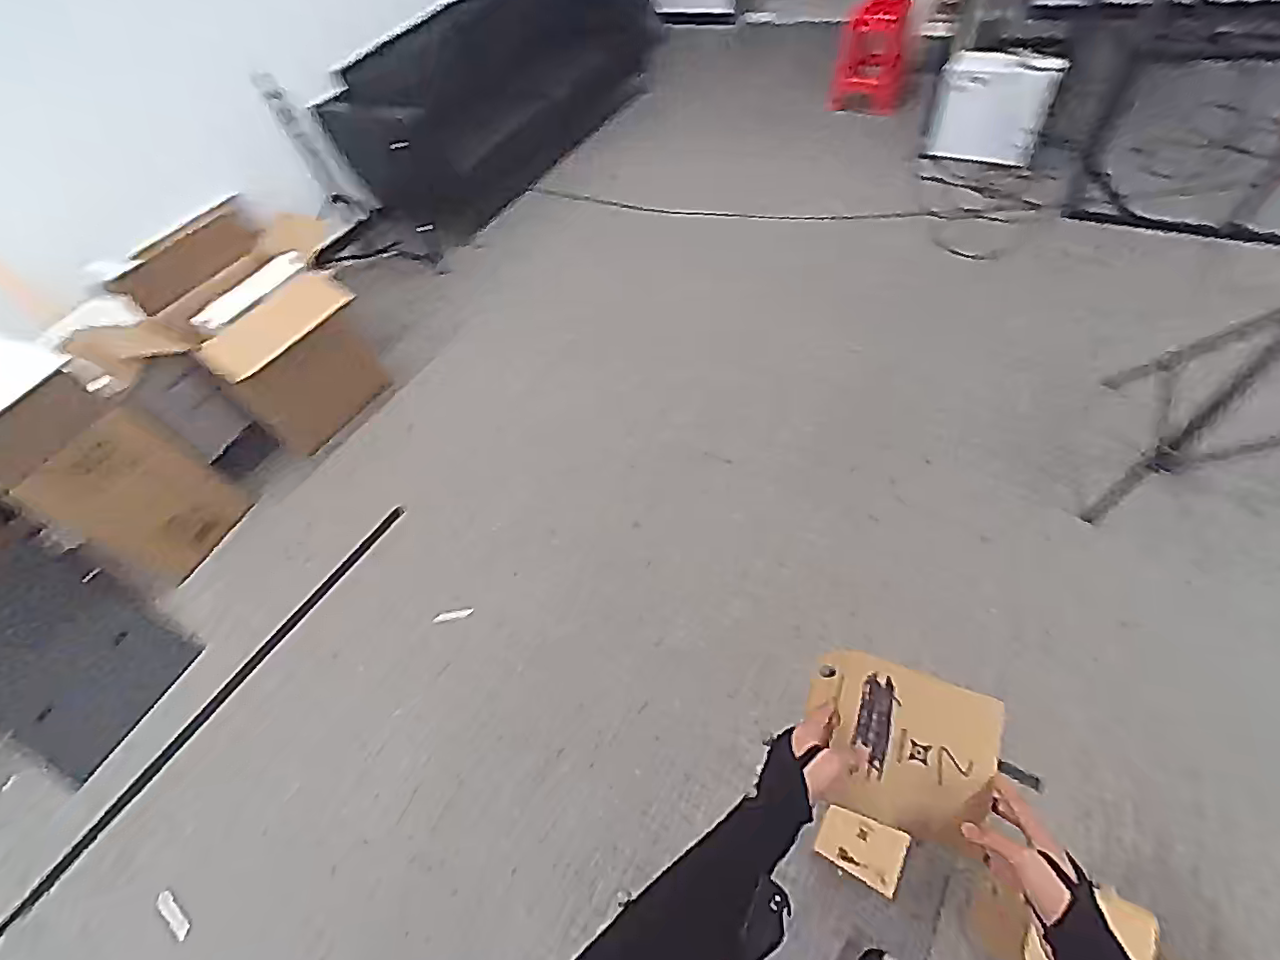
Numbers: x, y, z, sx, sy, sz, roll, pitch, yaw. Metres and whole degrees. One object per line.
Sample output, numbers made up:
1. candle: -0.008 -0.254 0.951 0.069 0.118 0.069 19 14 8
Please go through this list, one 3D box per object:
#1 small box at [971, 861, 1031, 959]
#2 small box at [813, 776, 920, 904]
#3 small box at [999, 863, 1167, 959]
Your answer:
1. small box: 0.798 0.908 1.088 0.168 0.176 0.179 24 63 26
2. small box: 0.503 0.810 1.221 0.168 0.176 0.179 23 61 26
3. small box: 0.769 0.818 0.954 0.168 0.176 0.179 24 62 26
